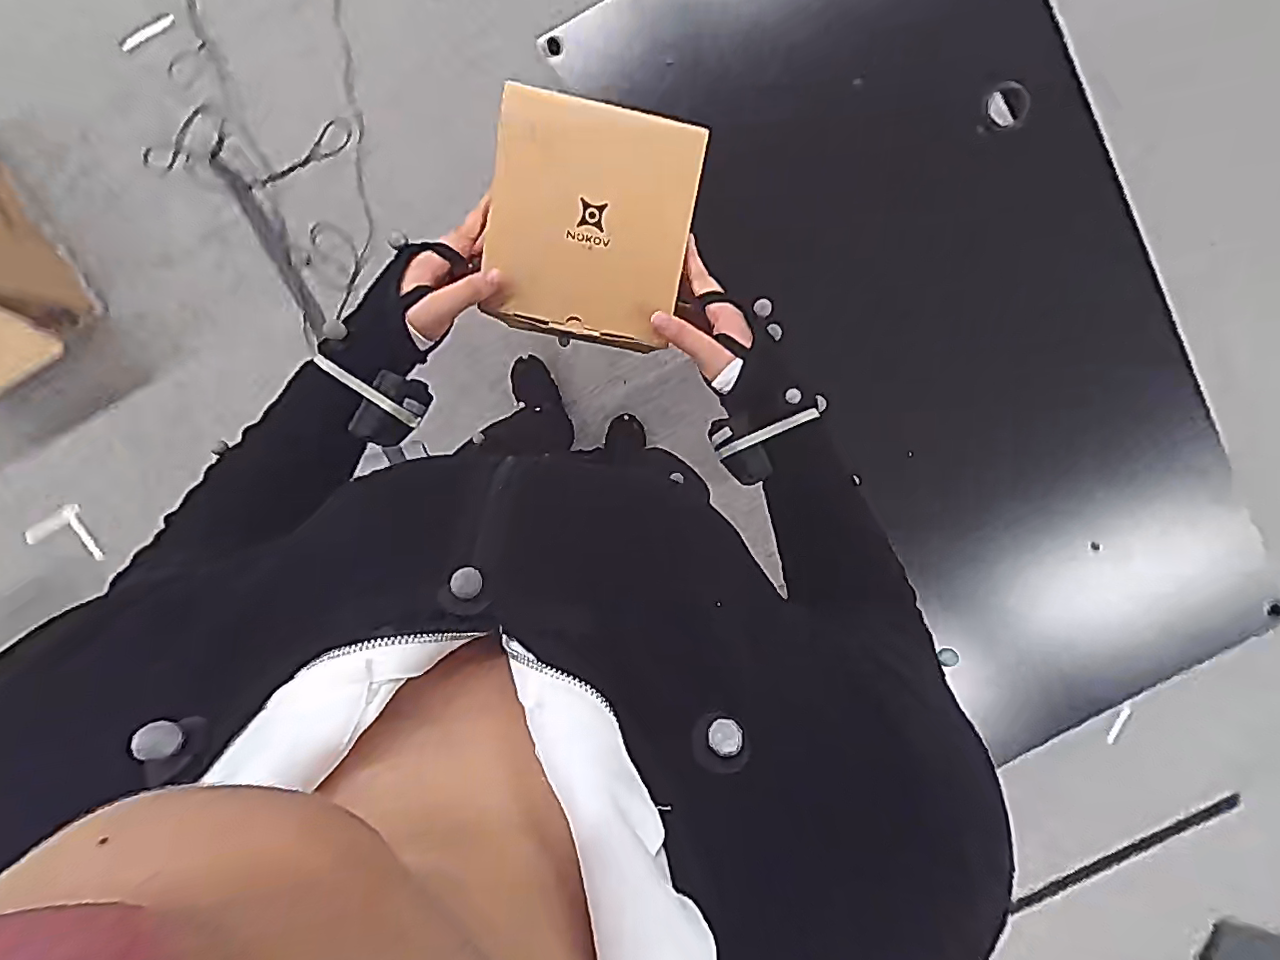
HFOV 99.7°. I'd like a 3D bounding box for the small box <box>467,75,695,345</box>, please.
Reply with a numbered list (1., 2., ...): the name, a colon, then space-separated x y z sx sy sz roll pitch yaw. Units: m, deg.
1. small box: -0.057 -0.232 0.517 0.168 0.176 0.179 8 102 -7
